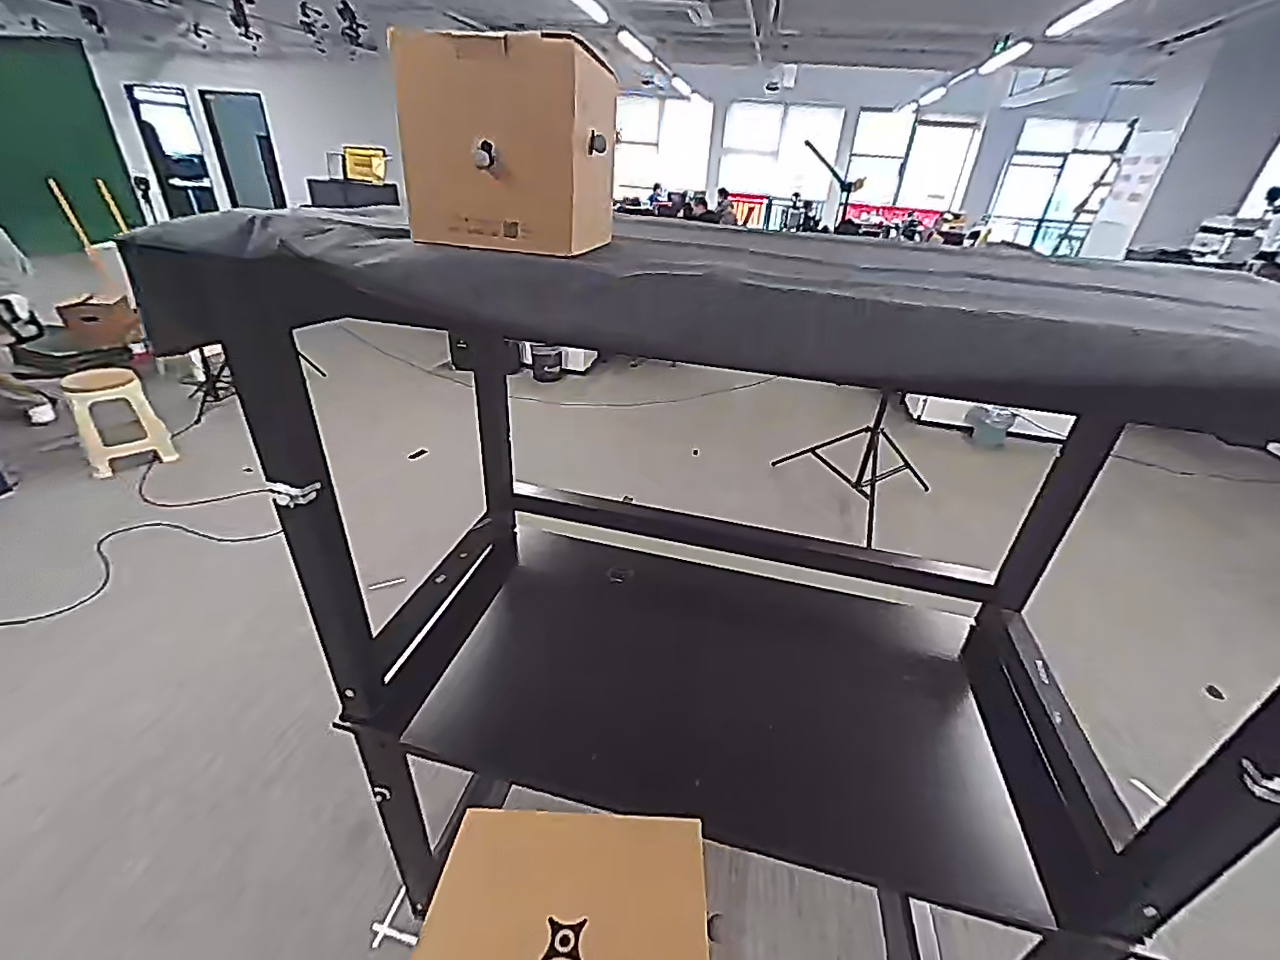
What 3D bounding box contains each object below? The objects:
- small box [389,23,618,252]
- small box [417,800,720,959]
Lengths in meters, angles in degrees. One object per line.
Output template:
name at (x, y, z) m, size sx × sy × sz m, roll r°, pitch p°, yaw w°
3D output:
small box at (-0.121, -0.335, 0.550) m, size 0.168 × 0.176 × 0.179 m, roll 9°, pitch 29°, yaw 6°
small box at (-0.039, 0.332, 0.323) m, size 0.168 × 0.176 × 0.179 m, roll 1°, pitch 21°, yaw 3°
